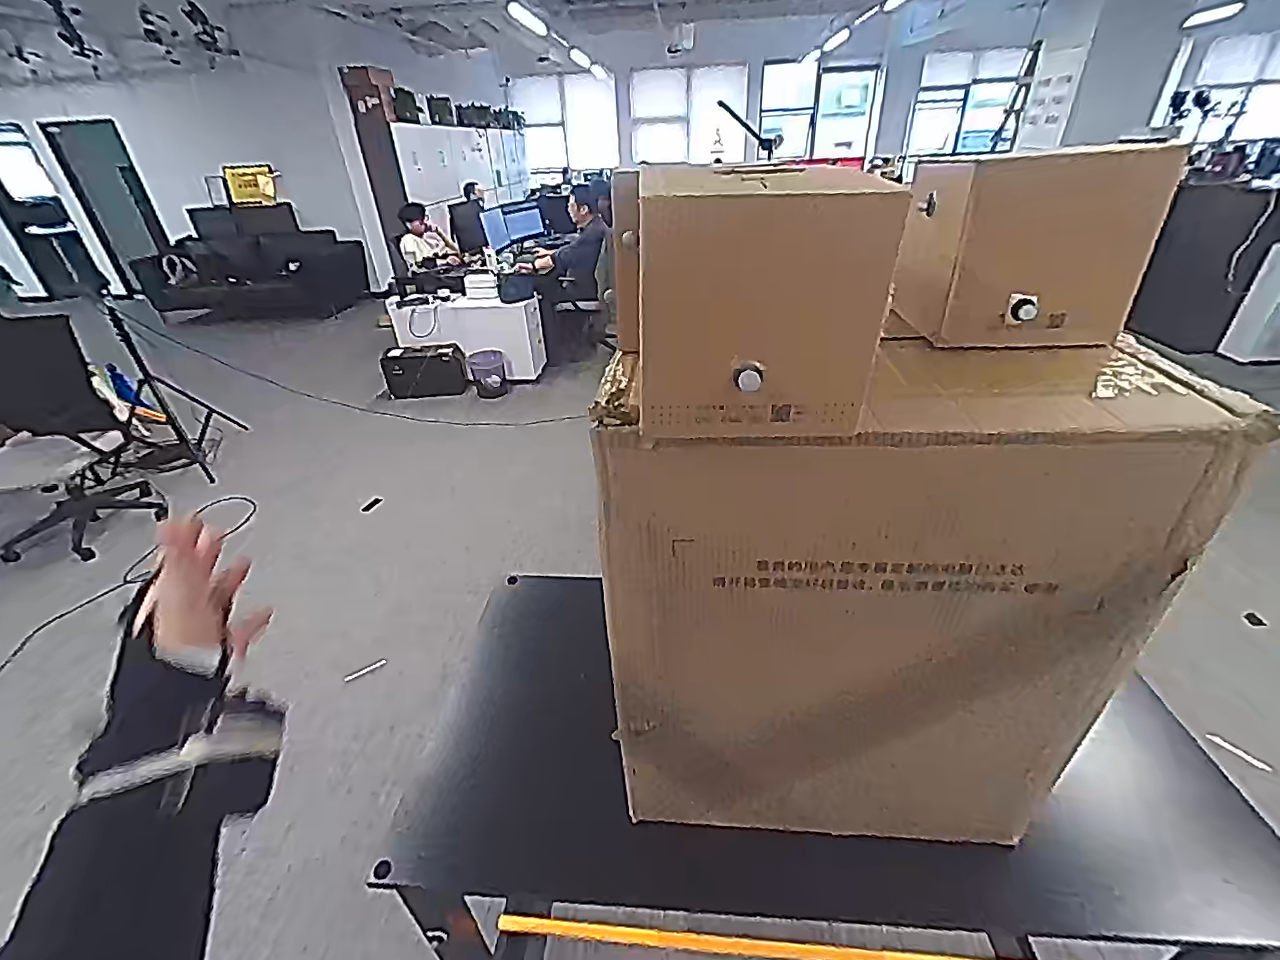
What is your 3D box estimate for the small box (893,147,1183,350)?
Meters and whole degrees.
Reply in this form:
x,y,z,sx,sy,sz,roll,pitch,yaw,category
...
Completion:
x,y,z,sx,sy,sz,roll,pitch,yaw,category
0.381,-0.242,0.564,0.168,0.176,0.179,-1,31,8,small box
